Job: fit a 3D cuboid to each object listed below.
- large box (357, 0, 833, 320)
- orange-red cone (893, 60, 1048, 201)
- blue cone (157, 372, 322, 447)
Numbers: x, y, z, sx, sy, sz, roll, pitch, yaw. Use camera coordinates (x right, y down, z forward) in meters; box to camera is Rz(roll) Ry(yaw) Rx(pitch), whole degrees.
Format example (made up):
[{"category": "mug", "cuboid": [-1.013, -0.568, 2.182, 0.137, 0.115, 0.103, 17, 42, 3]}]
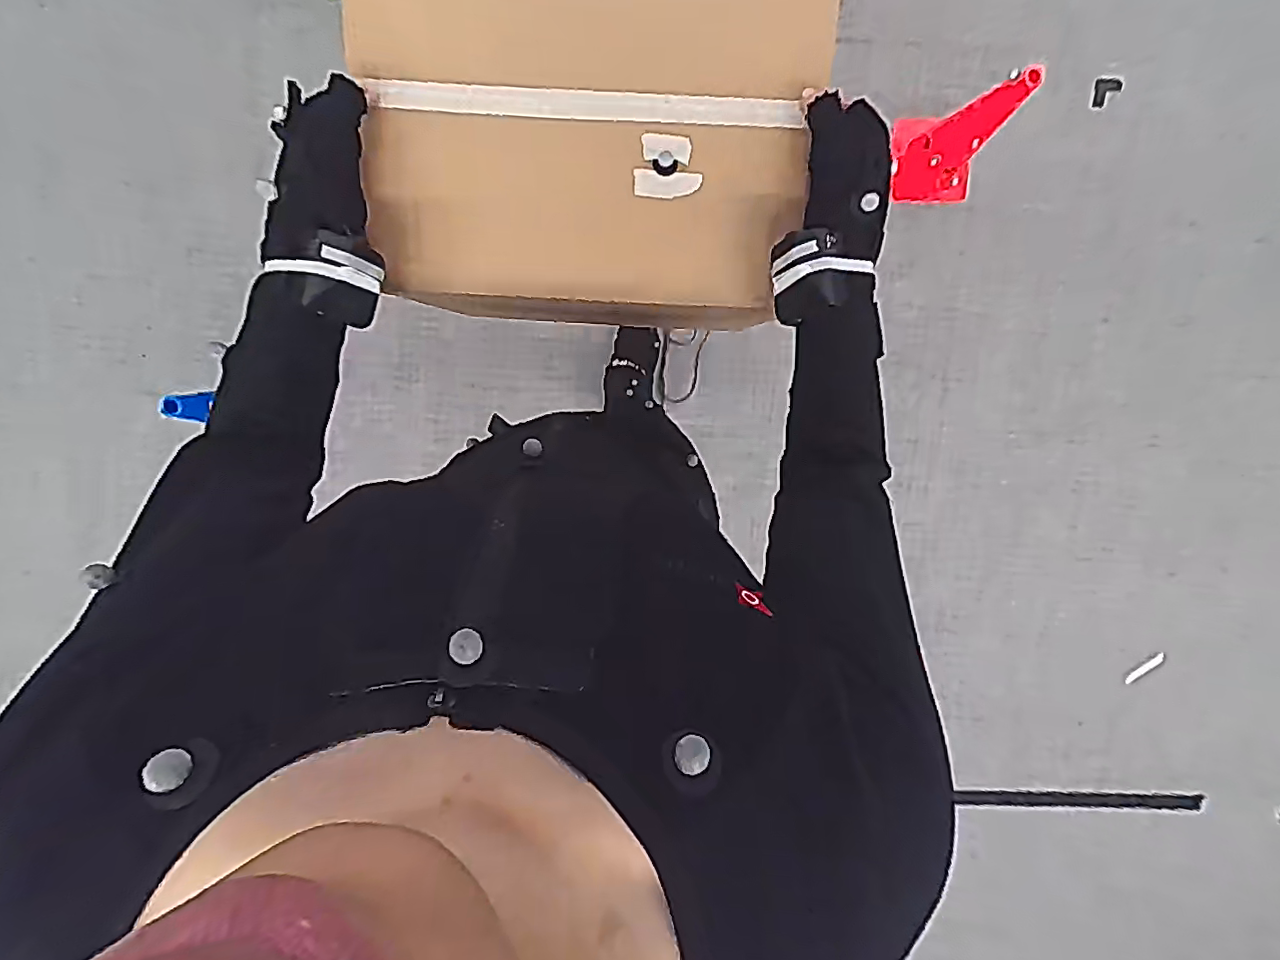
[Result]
[{"category": "large box", "cuboid": [-0.043, -0.358, 0.609, 0.408, 0.320, 0.320, 2, 102, -2]}, {"category": "orange-red cone", "cuboid": [0.747, -0.797, 1.197, 0.198, 0.360, 0.199, 0, 95, -2]}, {"category": "blue cone", "cuboid": [-0.927, -0.165, 1.250, 0.192, 0.380, 0.193, 6, 96, -1]}]
